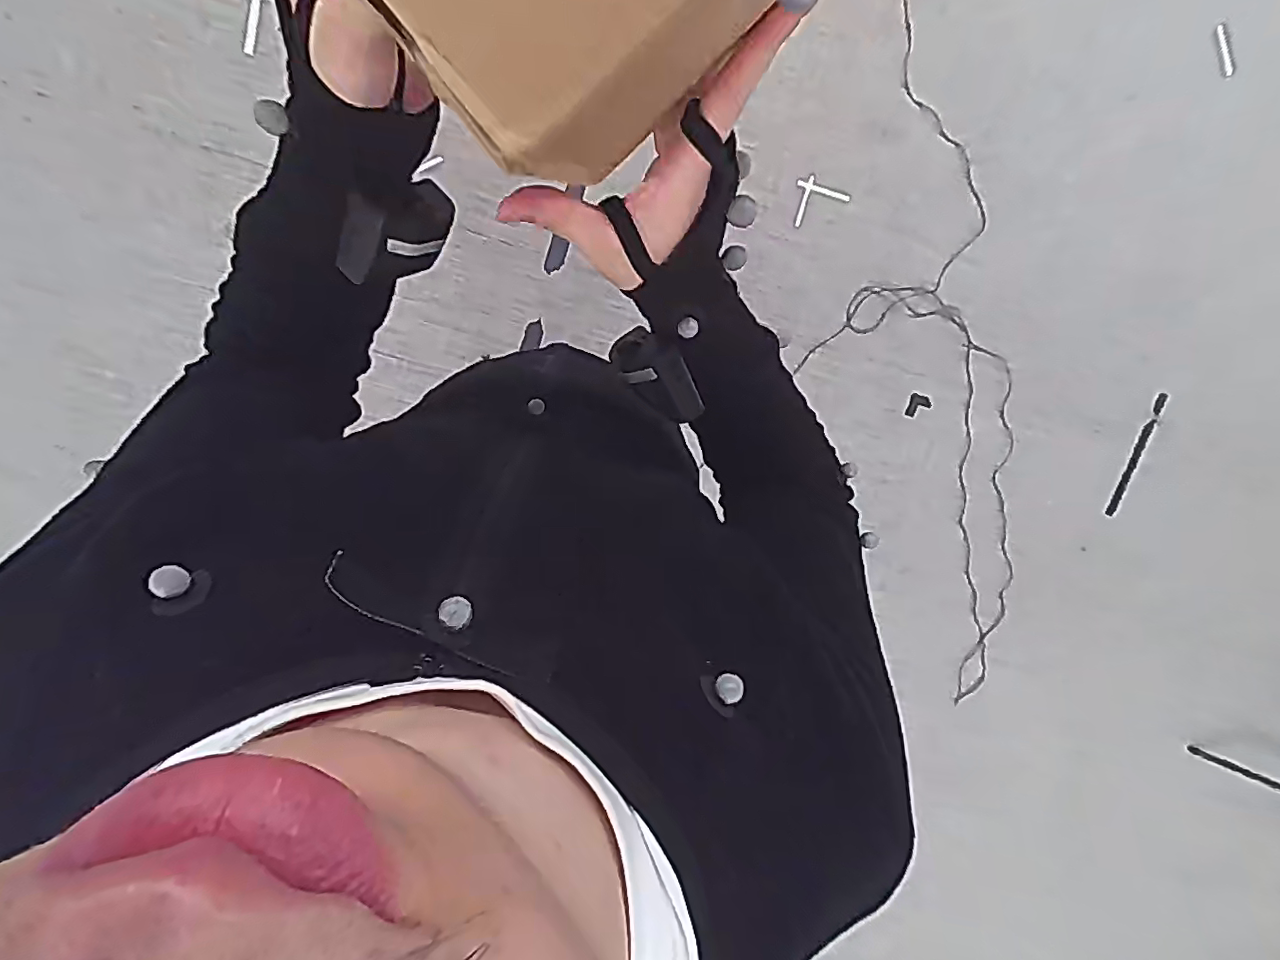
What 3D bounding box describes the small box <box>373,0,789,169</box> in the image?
[{"bbox_3d":[-0.011,-0.217,0.154,0.179,0.176,0.168,-35,112,19],"label":"small box"}]
